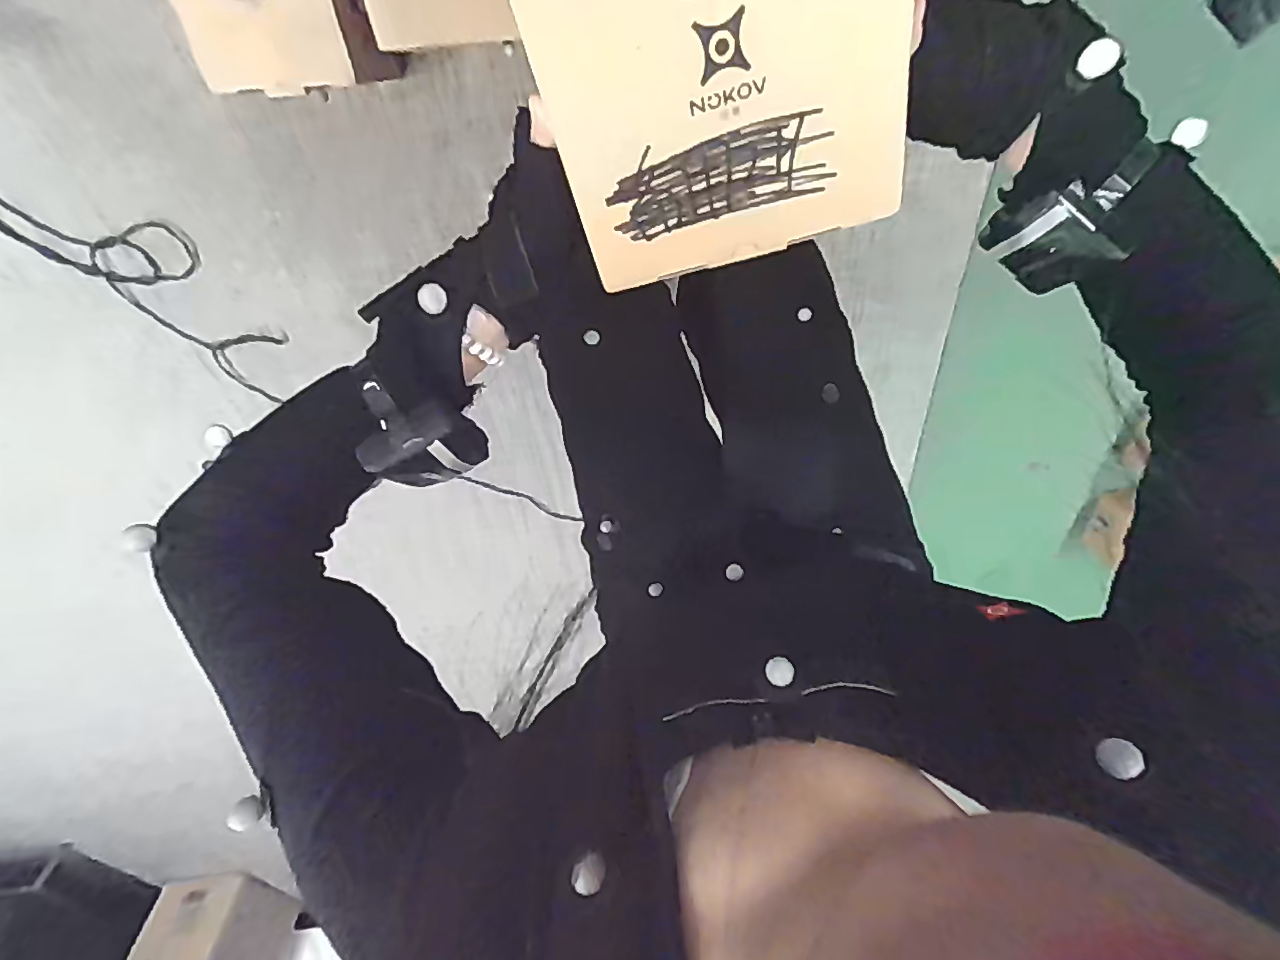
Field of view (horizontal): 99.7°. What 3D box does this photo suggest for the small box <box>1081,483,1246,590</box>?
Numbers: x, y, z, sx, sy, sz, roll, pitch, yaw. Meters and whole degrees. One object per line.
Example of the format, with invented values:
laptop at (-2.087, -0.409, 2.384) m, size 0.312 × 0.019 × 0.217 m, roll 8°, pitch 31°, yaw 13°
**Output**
small box at (1.162, 0.119, 1.219) m, size 0.179 × 0.176 × 0.168 m, roll -10°, pitch 128°, yaw 5°
